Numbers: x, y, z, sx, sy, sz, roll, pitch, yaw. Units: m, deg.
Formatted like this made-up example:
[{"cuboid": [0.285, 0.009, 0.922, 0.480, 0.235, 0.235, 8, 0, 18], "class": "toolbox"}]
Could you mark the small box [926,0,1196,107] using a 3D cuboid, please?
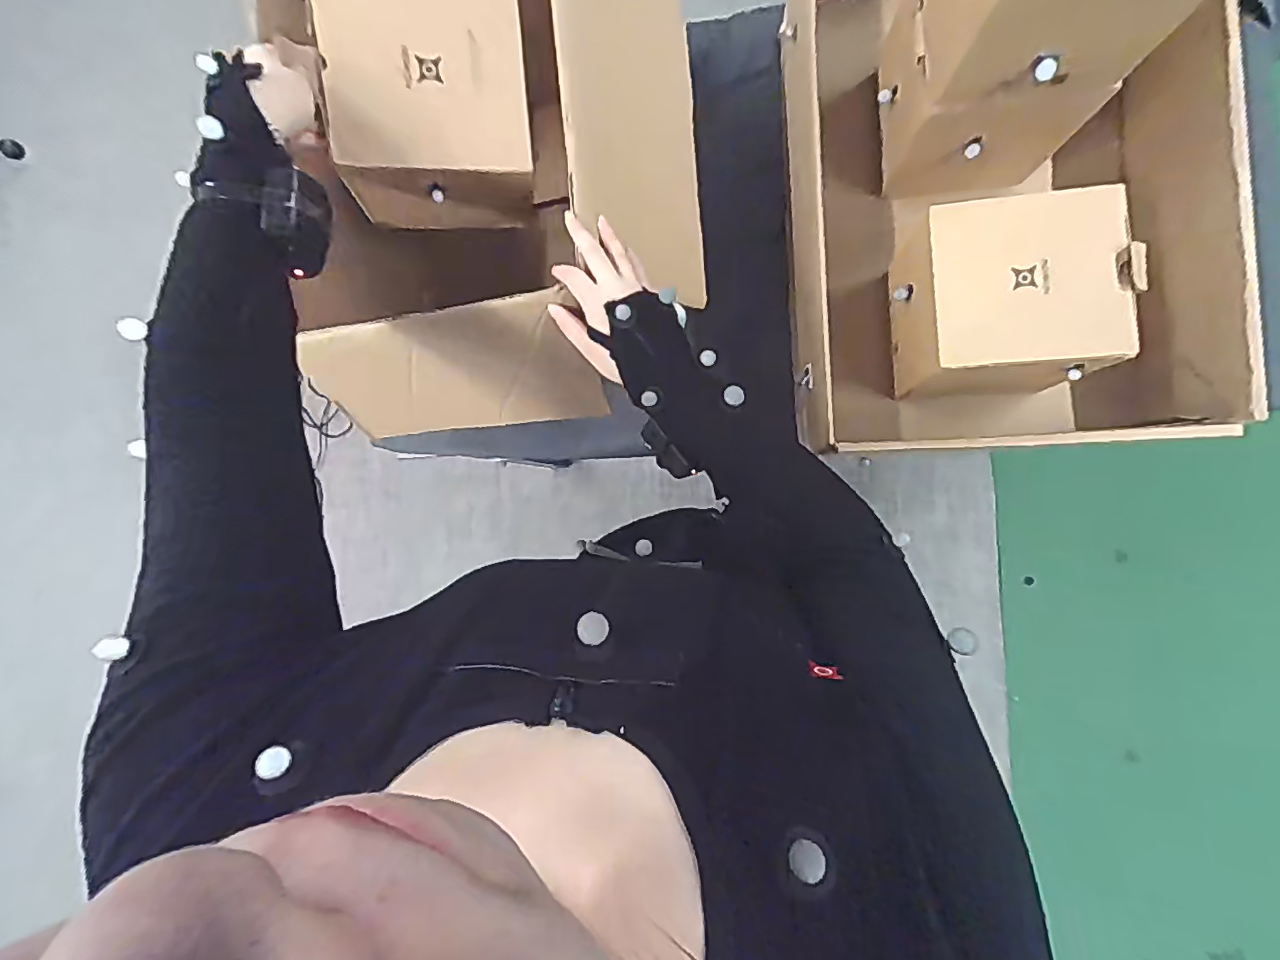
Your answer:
[{"cuboid": [0.353, -0.456, 0.448, 0.168, 0.176, 0.179, -1, 91, 8], "class": "small box"}]
